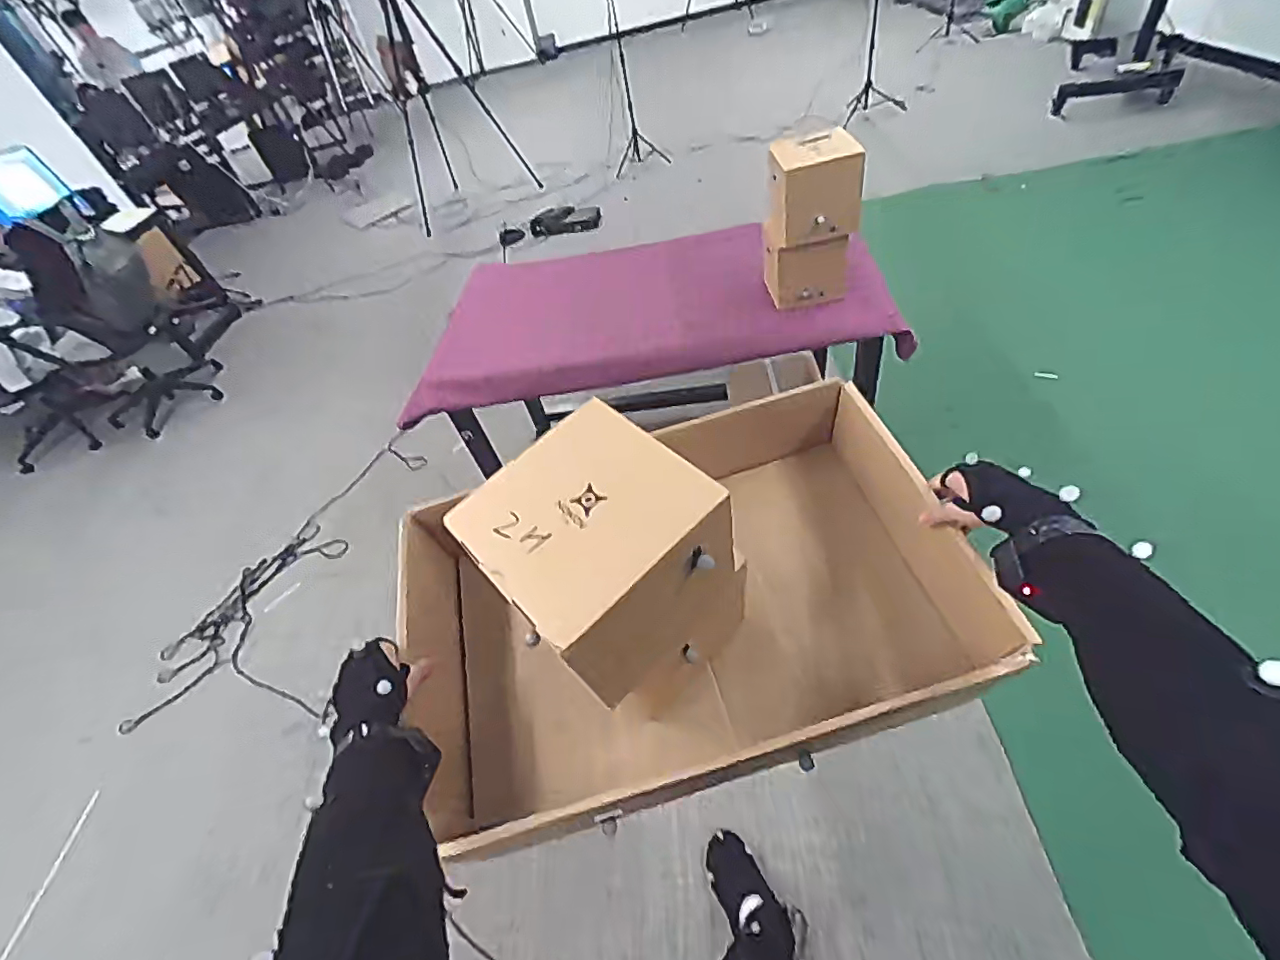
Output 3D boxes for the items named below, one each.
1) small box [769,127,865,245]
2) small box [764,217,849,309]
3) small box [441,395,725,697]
[{"bbox_3d":[0.386,-0.652,1.204,0.168,0.176,0.179,-10,46,8],"label":"small box"},{"bbox_3d":[0.404,-0.547,1.332,0.168,0.176,0.179,-10,45,8],"label":"small box"},{"bbox_3d":[-0.038,0.063,0.495,0.179,0.176,0.168,-41,56,-17],"label":"small box"}]
